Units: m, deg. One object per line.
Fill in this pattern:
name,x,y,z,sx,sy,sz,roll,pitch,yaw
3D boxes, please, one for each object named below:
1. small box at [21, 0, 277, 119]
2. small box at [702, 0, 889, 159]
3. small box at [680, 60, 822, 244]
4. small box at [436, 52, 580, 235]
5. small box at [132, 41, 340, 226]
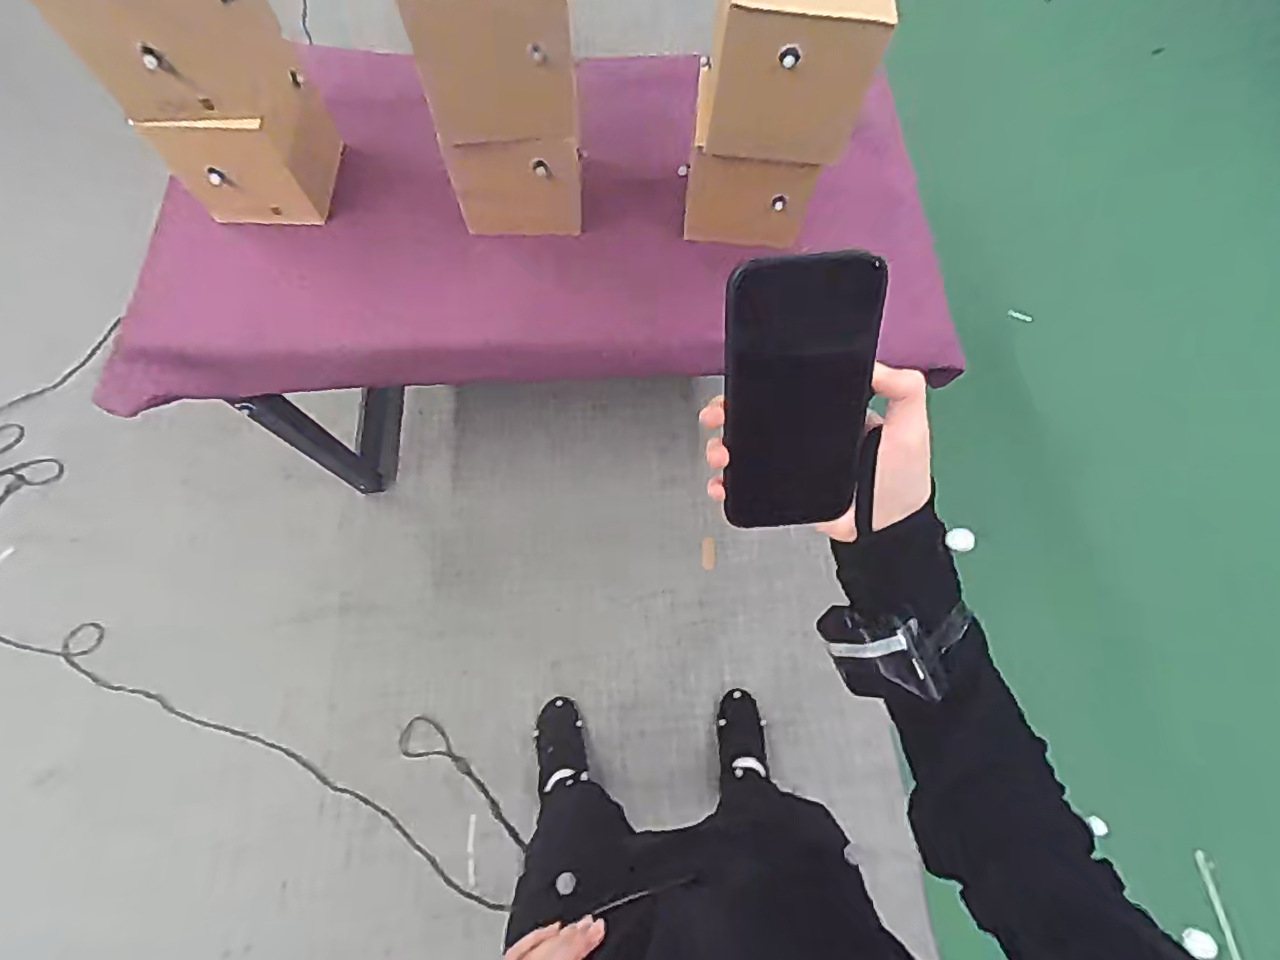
small box,-0.569,-0.563,0.645,0.168,0.176,0.179,-5,71,-4
small box,0.172,-0.521,0.651,0.179,0.176,0.168,5,70,0
small box,0.159,-0.479,0.809,0.179,0.176,0.168,5,70,1
small box,-0.182,-0.487,0.801,0.179,0.176,0.168,-1,70,-2
small box,-0.573,-0.500,0.797,0.168,0.176,0.179,0,70,-2
